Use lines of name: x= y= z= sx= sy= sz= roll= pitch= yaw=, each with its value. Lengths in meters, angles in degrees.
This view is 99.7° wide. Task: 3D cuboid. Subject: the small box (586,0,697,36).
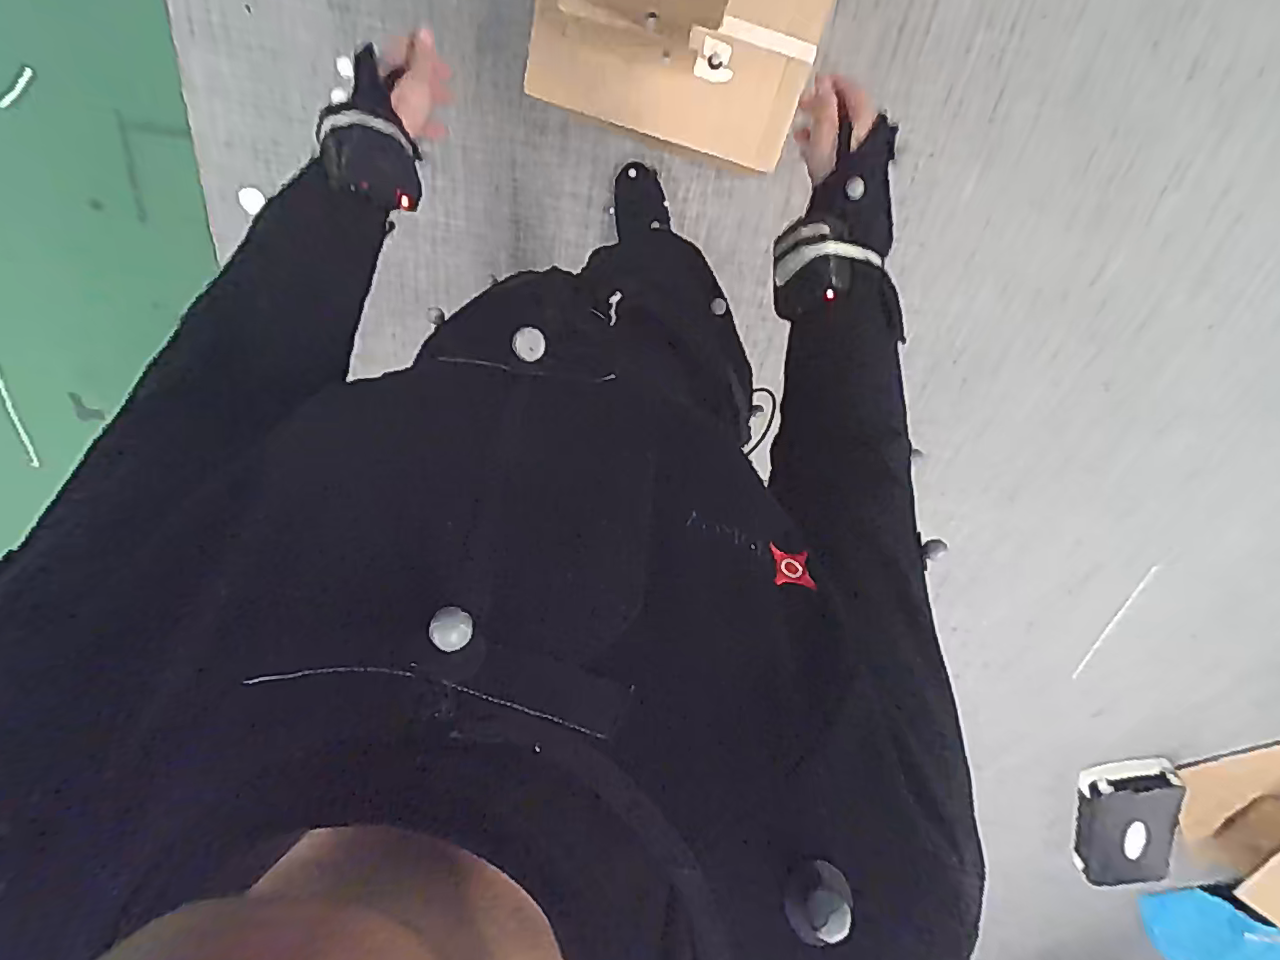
small box: x=0.001 y=-0.567 z=0.518 sx=0.179 sy=0.176 sz=0.168 roll=19 pitch=117 yaw=-7

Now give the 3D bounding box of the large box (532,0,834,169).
large box: x=0.066 y=-0.736 z=0.886 sx=0.408 sy=0.320 sz=0.320 roll=14 pitch=120 yaw=-6

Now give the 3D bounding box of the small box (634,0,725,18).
small box: x=0.003 y=-0.471 z=0.385 sx=0.179 sy=0.176 sz=0.168 roll=12 pitch=117 yaw=-5
